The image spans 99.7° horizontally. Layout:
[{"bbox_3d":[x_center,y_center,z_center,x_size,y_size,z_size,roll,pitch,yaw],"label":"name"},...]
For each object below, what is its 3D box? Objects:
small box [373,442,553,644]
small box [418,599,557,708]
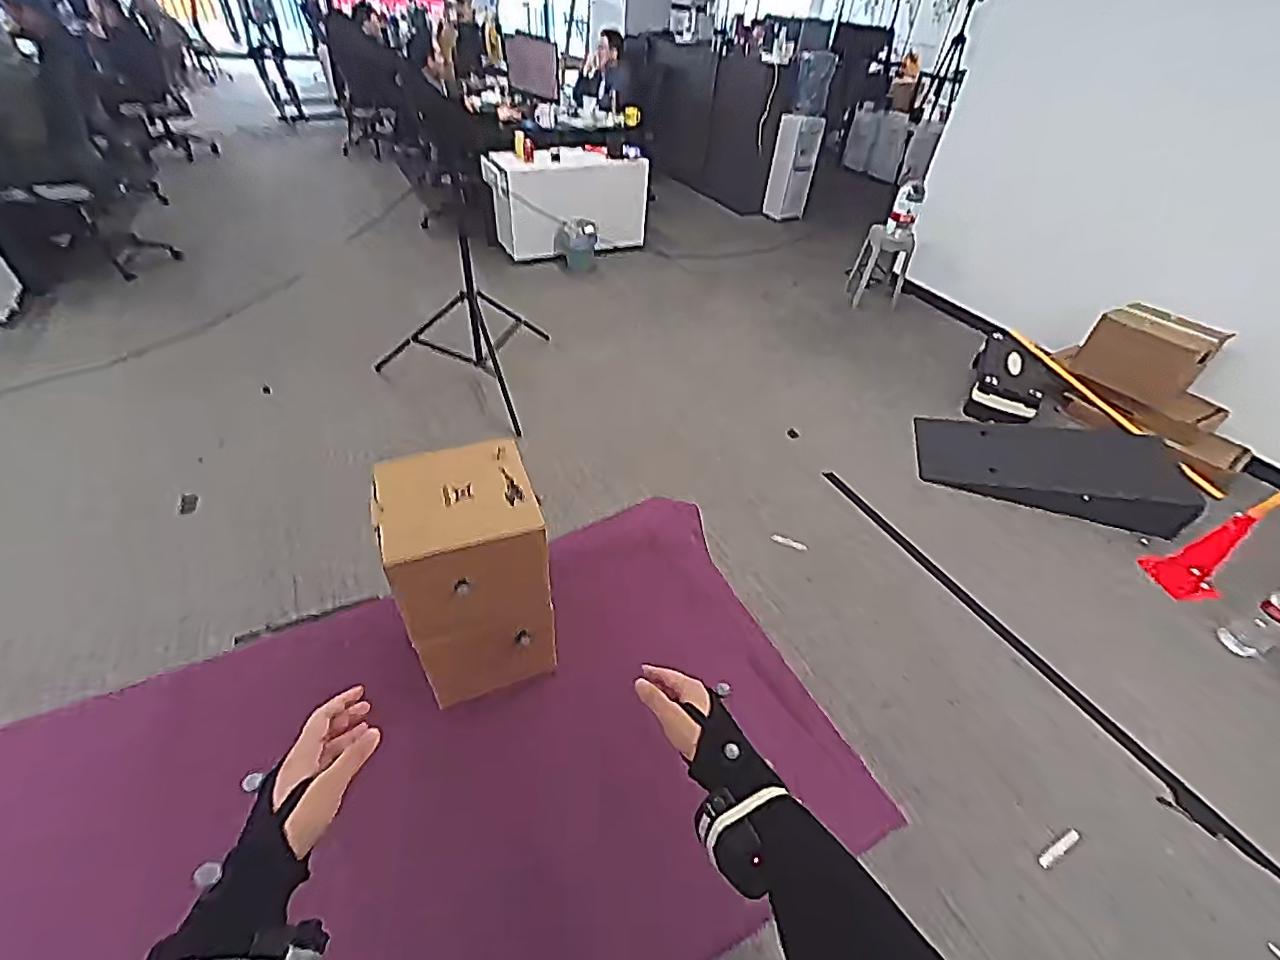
[{"bbox_3d":[-0.219,0.081,0.687,0.179,0.176,0.168,-14,47,-18],"label":"small box"},{"bbox_3d":[-0.229,0.201,0.798,0.179,0.176,0.168,-14,46,-20],"label":"small box"}]
